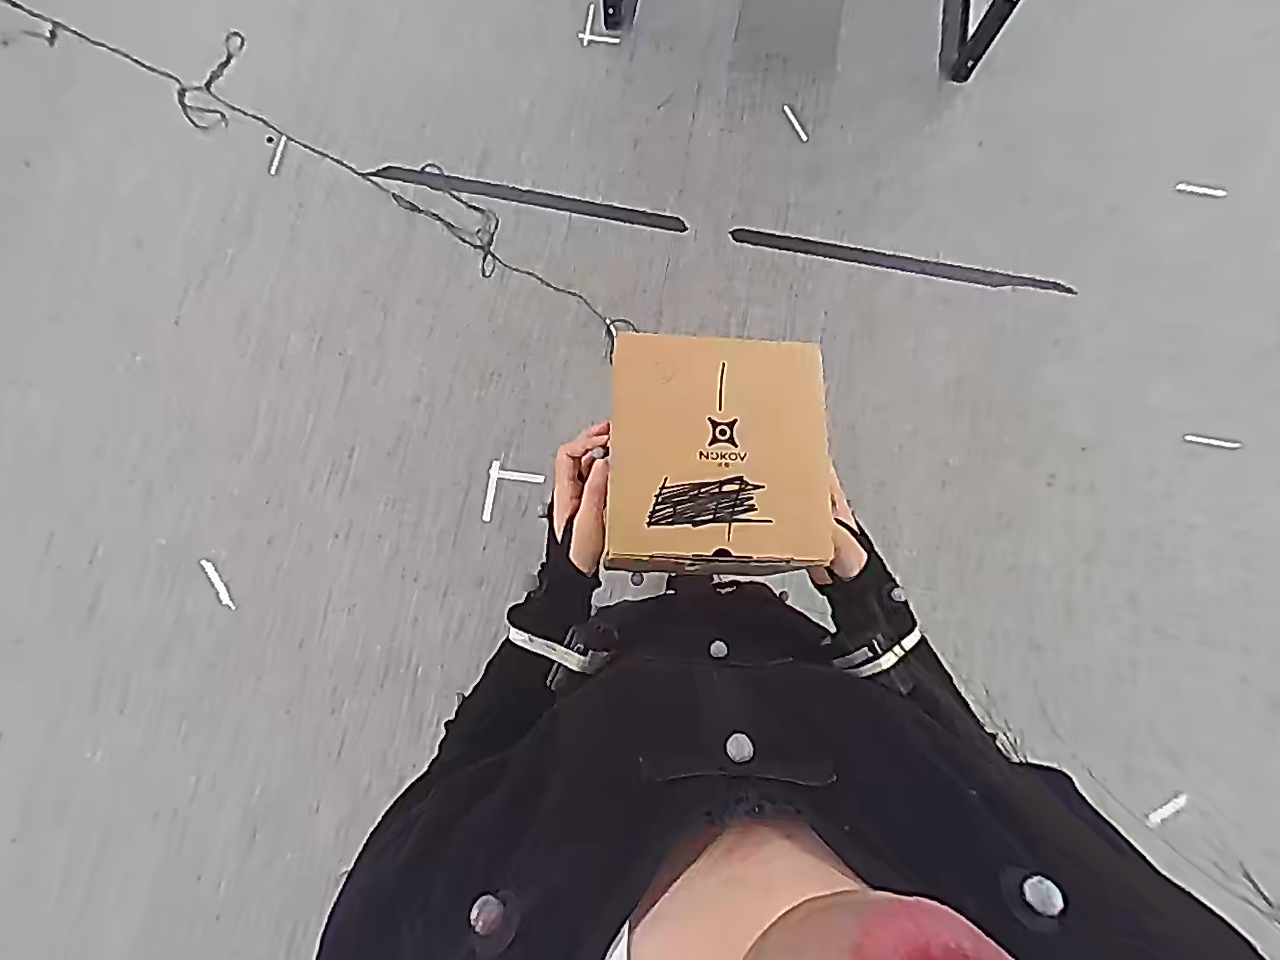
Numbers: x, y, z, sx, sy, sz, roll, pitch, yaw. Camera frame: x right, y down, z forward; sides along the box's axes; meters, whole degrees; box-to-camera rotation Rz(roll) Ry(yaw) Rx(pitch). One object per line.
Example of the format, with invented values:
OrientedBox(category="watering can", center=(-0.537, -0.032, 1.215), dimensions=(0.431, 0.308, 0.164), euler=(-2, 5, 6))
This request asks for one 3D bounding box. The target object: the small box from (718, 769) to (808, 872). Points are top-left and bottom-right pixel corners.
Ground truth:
OrientedBox(category="small box", center=(0.296, 0.830, 1.334), dimensions=(0.179, 0.176, 0.168), euler=(-2, 81, -2))

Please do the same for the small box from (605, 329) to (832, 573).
OrientedBox(category="small box", center=(0.055, -0.011, 0.482), dimensions=(0.168, 0.176, 0.179), euler=(3, 76, -5))
